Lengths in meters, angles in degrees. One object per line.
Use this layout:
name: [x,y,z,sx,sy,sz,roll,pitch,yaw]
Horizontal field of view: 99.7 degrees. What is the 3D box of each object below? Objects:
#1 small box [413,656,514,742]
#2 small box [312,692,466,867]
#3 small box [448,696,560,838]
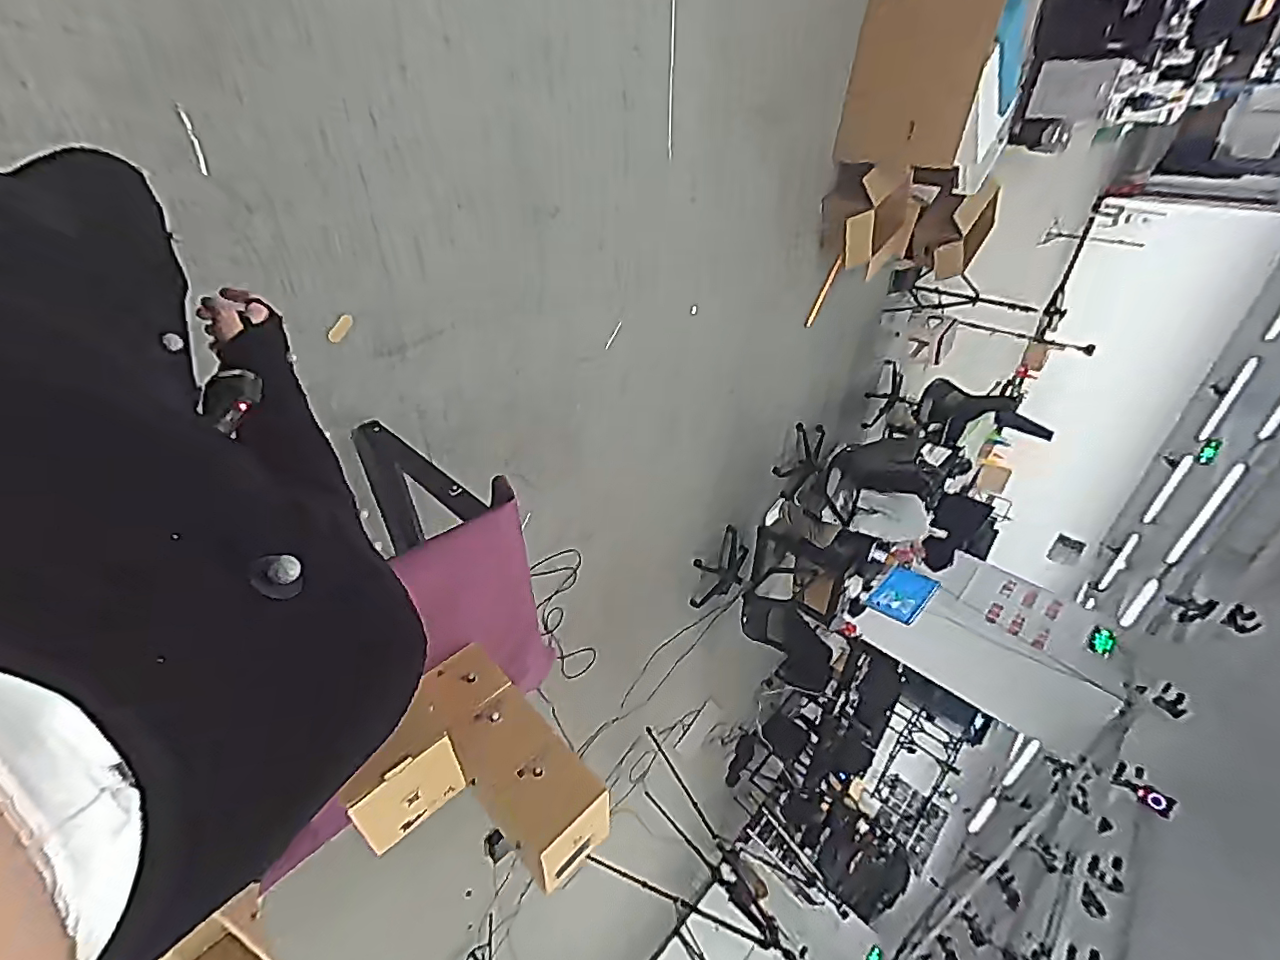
small box: [-0.407,0.546,1.272,0.168,0.176,0.179,-32,136,-36]
small box: [-0.429,0.497,0.927,0.168,0.176,0.179,-30,134,-36]
small box: [-0.293,0.613,1.175,0.168,0.176,0.179,-28,132,-39]
